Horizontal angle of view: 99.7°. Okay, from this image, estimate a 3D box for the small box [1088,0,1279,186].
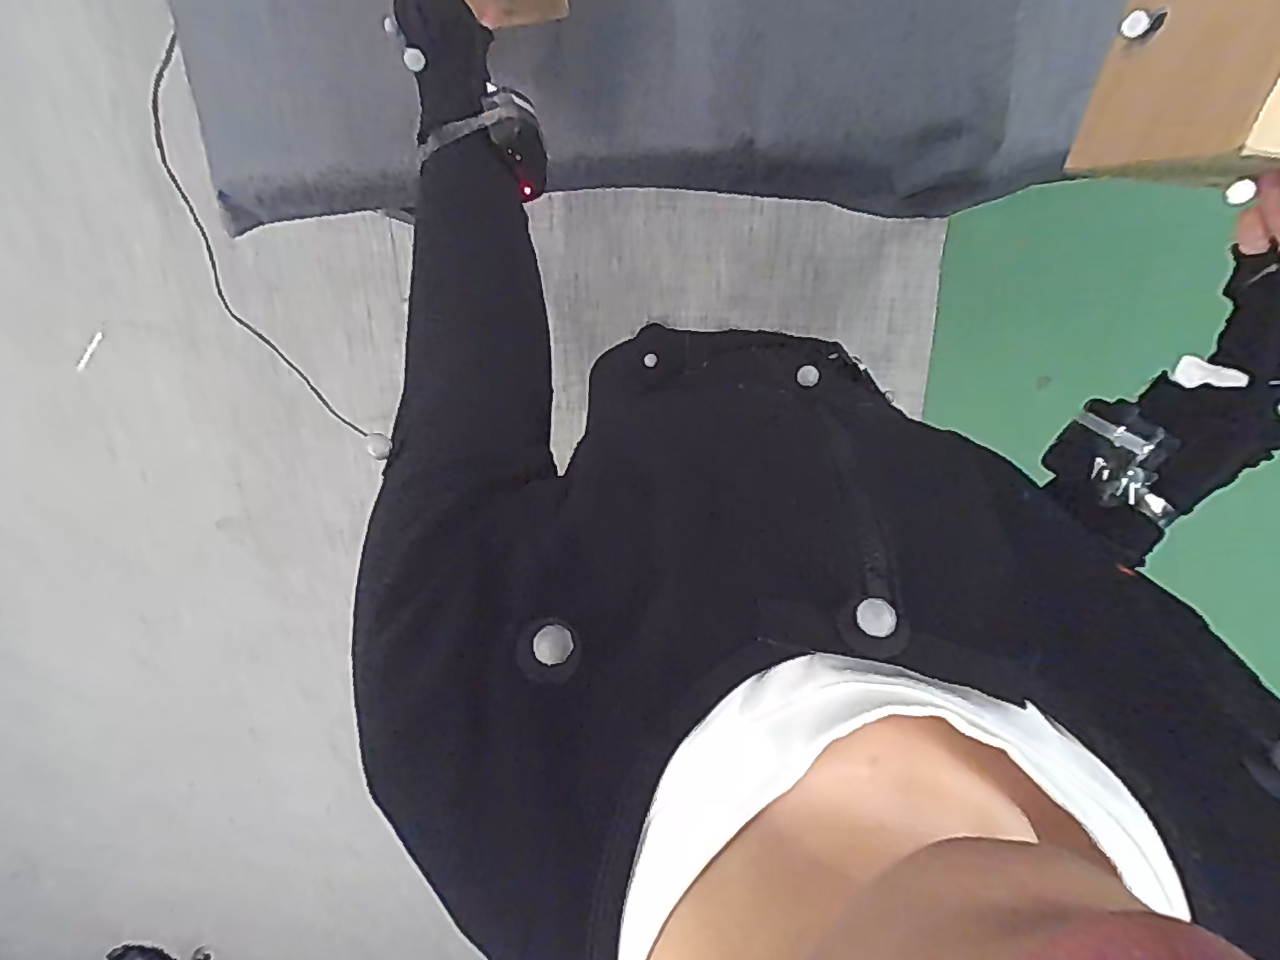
[{"bbox_3d":[0.427,-0.281,0.324,0.168,0.176,0.179,8,118,3],"label":"small box"}]

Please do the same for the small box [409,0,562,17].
[{"bbox_3d":[-0.167,-0.557,0.482,0.168,0.176,0.179,-5,105,3],"label":"small box"}]
